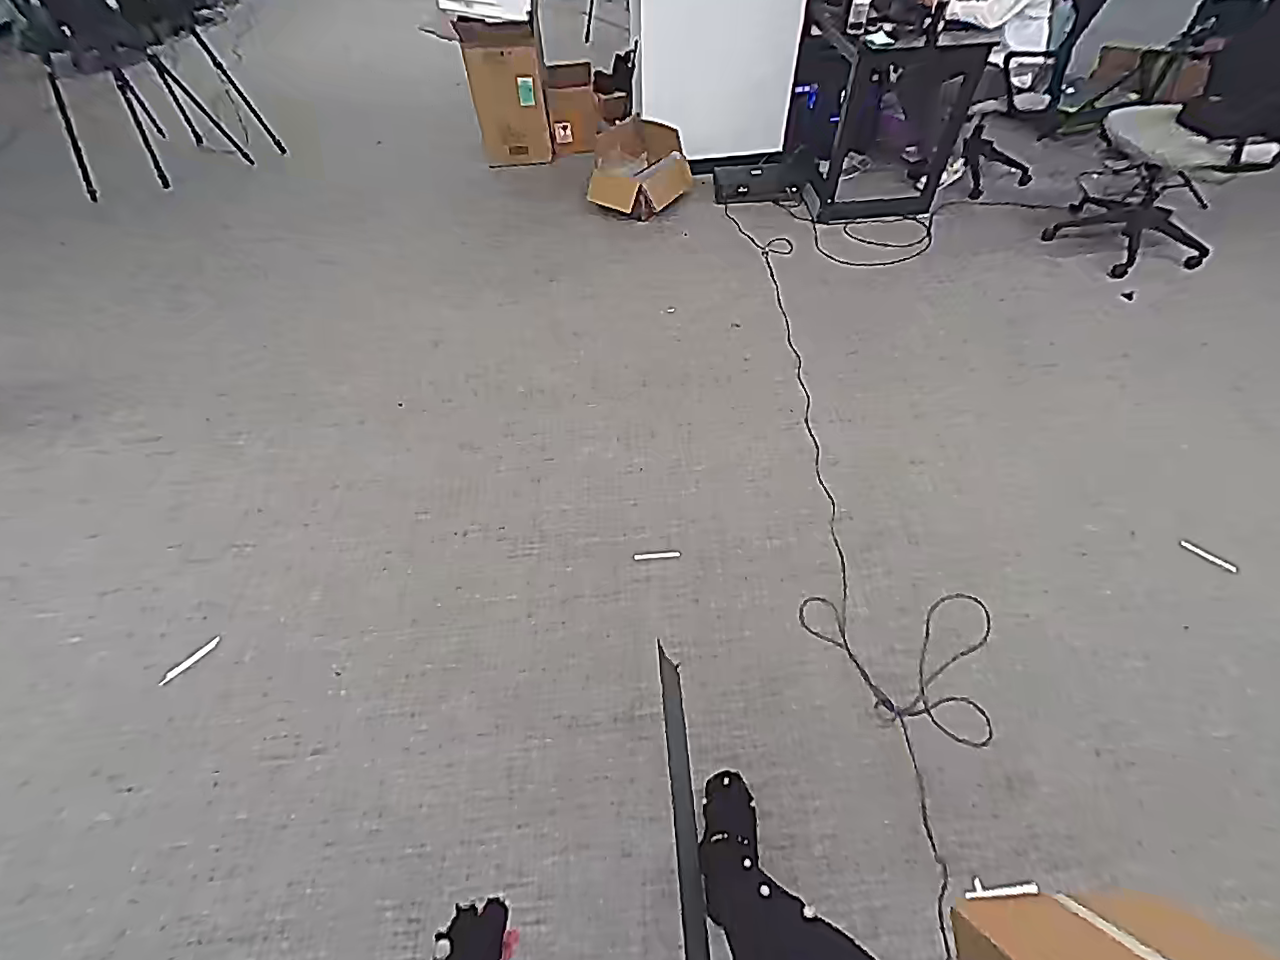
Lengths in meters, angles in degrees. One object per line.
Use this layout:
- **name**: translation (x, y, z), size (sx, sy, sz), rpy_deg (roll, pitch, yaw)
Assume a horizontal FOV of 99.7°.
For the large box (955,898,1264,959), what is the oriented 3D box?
- **large box**: translation (0.604, 0.708, 0.556), size (0.320, 0.408, 0.320), rpy_deg (-1, 75, 0)
